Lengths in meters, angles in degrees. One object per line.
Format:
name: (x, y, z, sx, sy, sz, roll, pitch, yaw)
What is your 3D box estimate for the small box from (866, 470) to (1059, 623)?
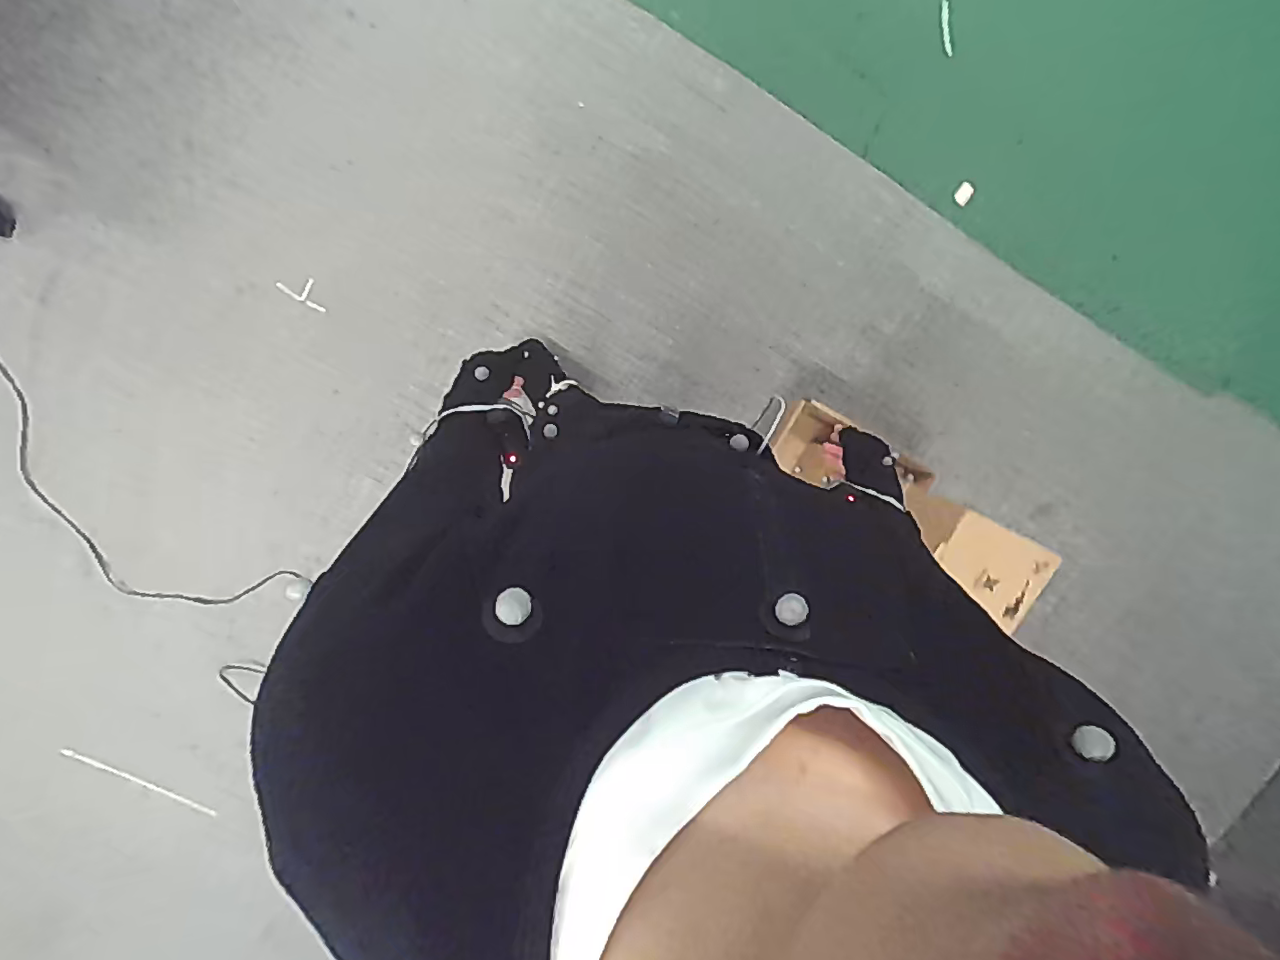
small box: (0.503, 0.096, 0.876, 0.179, 0.176, 0.168, 23, 102, -6)

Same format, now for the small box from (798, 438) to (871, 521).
small box: (0.482, 0.020, 1.194, 0.179, 0.176, 0.168, 25, 101, -7)

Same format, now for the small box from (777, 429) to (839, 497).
small box: (0.475, -0.017, 1.352, 0.179, 0.176, 0.168, 26, 100, -7)

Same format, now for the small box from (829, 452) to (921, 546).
small box: (0.495, 0.056, 1.035, 0.179, 0.176, 0.168, 23, 102, -7)
